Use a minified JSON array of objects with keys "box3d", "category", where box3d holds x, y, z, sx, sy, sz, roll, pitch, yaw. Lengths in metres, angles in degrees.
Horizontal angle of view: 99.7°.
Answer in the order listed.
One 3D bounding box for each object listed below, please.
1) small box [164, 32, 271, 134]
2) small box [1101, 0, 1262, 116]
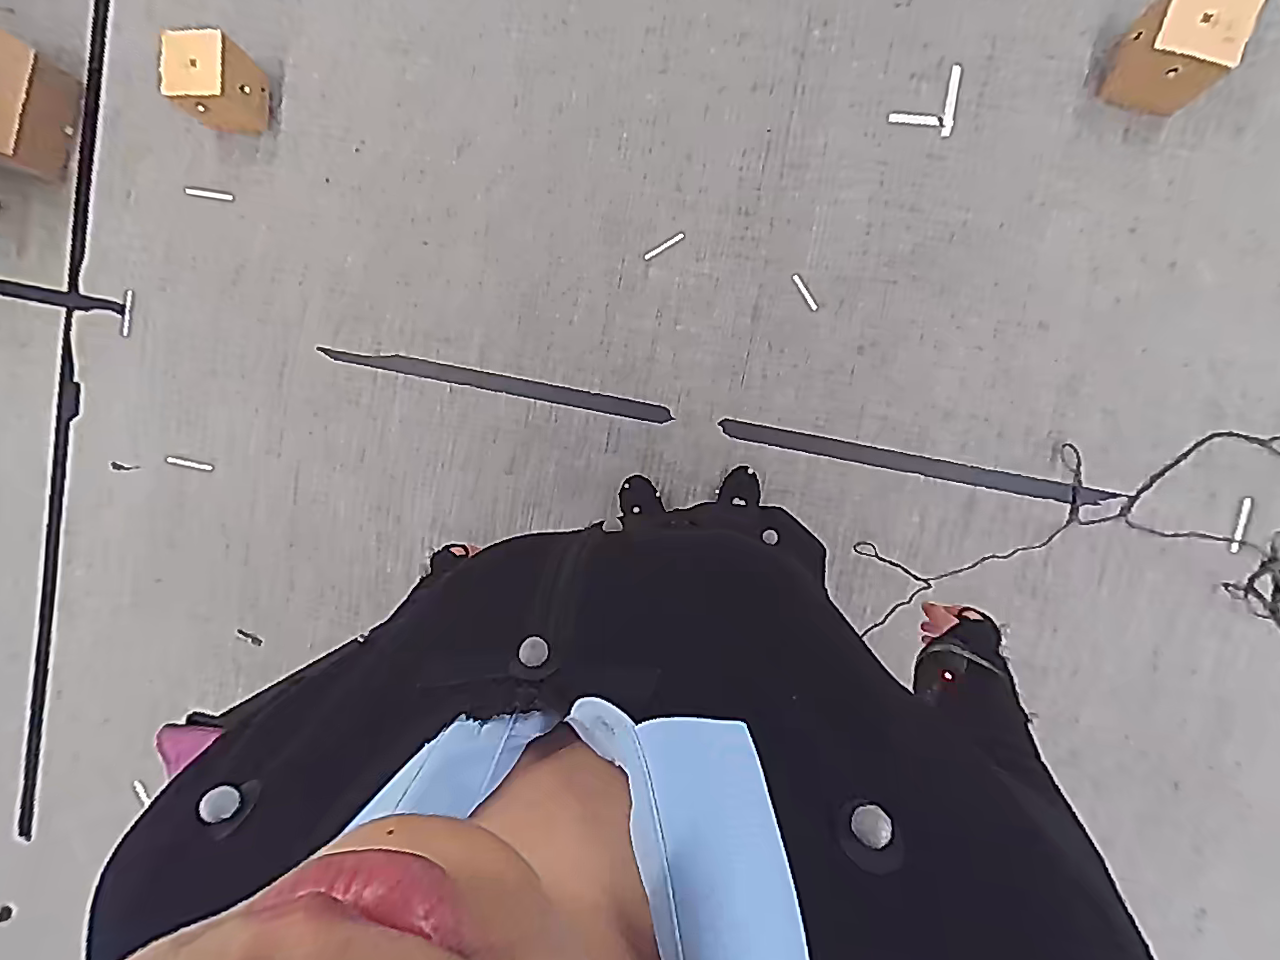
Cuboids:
[{"box3d":[-1.157,-1.086,1.490,0.179,0.176,0.168,4,93,6],"category":"small box"},{"box3d":[1.224,-0.980,1.239,0.179,0.176,0.168,20,95,5],"category":"small box"}]
